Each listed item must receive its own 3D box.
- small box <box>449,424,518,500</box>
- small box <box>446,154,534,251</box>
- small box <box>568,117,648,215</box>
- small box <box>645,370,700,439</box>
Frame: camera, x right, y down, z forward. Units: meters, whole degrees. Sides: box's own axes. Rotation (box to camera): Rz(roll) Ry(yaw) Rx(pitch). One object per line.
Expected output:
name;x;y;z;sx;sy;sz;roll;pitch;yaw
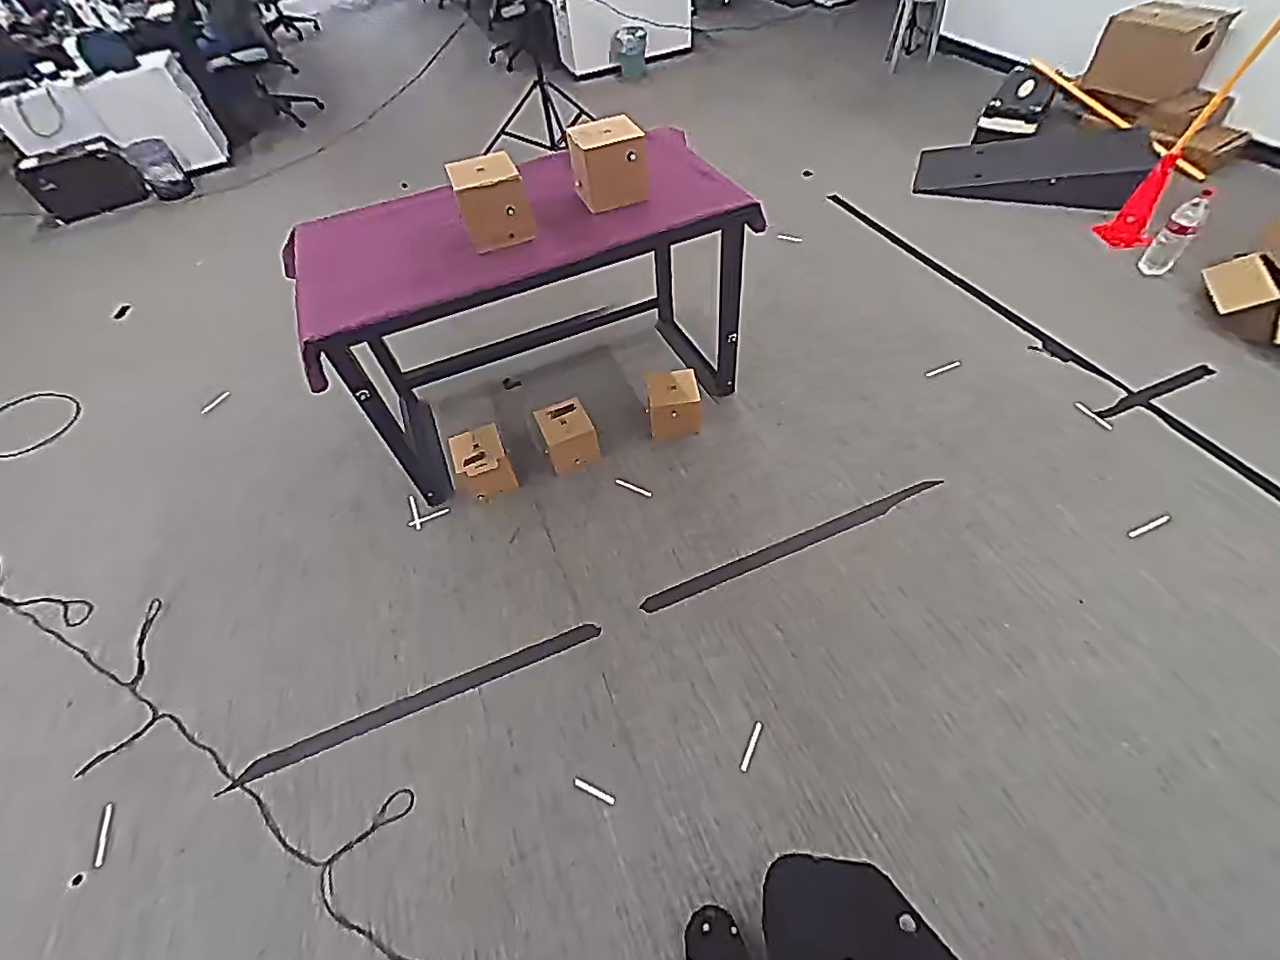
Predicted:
small box;-0.532;-0.053;1.848;0.168;0.176;0.179;-21;53;-10
small box;-0.392;-0.724;1.425;0.168;0.176;0.179;-20;51;-10
small box;-0.084;-0.870;1.501;0.179;0.176;0.168;-20;53;-9
small box;0.119;-0.268;1.944;0.179;0.176;0.168;-9;53;1
